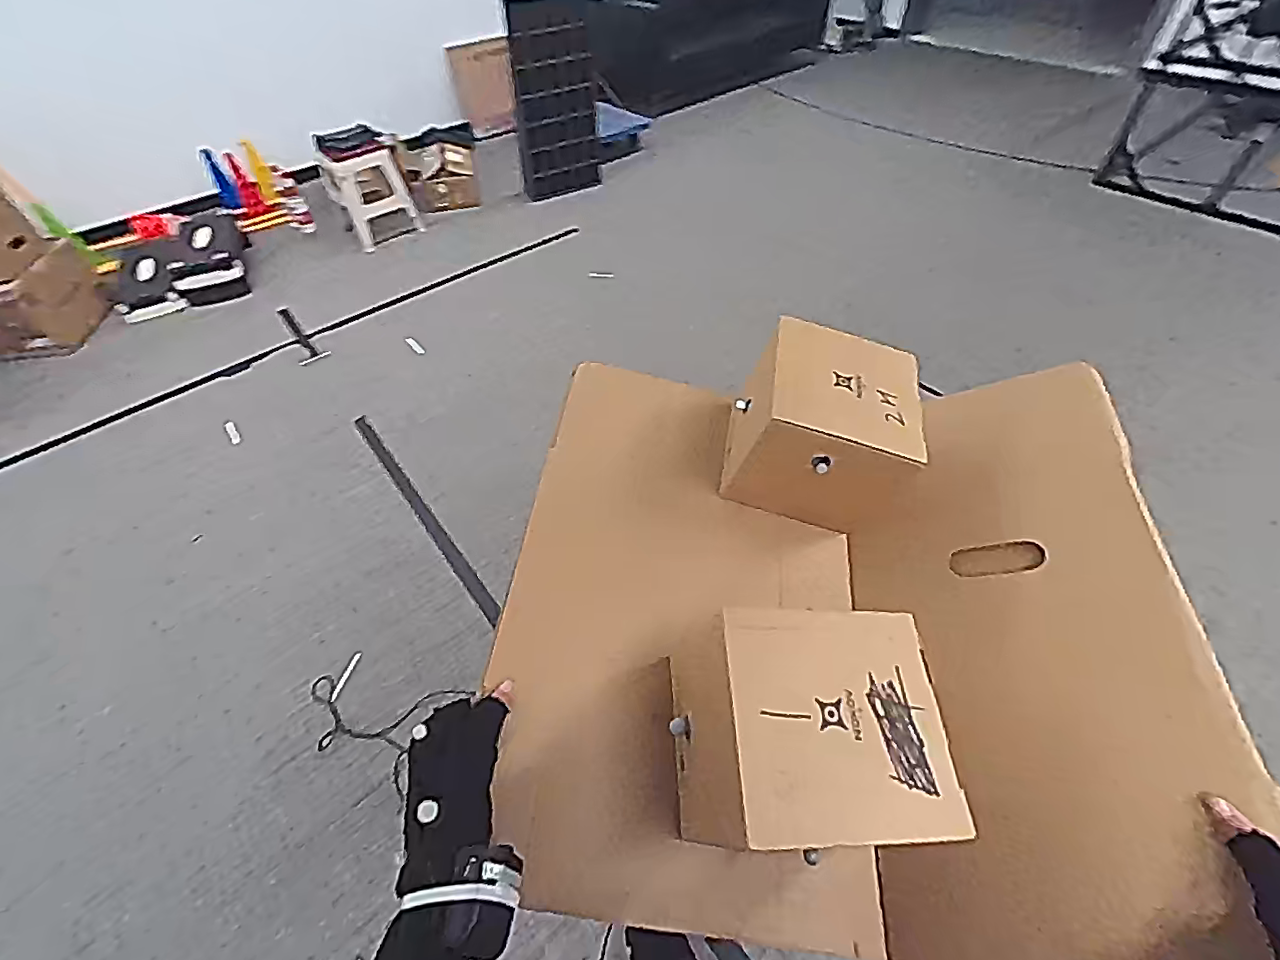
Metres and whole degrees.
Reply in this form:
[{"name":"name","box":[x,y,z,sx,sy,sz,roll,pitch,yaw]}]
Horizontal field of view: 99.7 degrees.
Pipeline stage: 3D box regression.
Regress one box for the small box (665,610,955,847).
[{"name":"small box","box":[0.130,0.223,0.488,0.179,0.176,0.168,3,58,-11]}]
